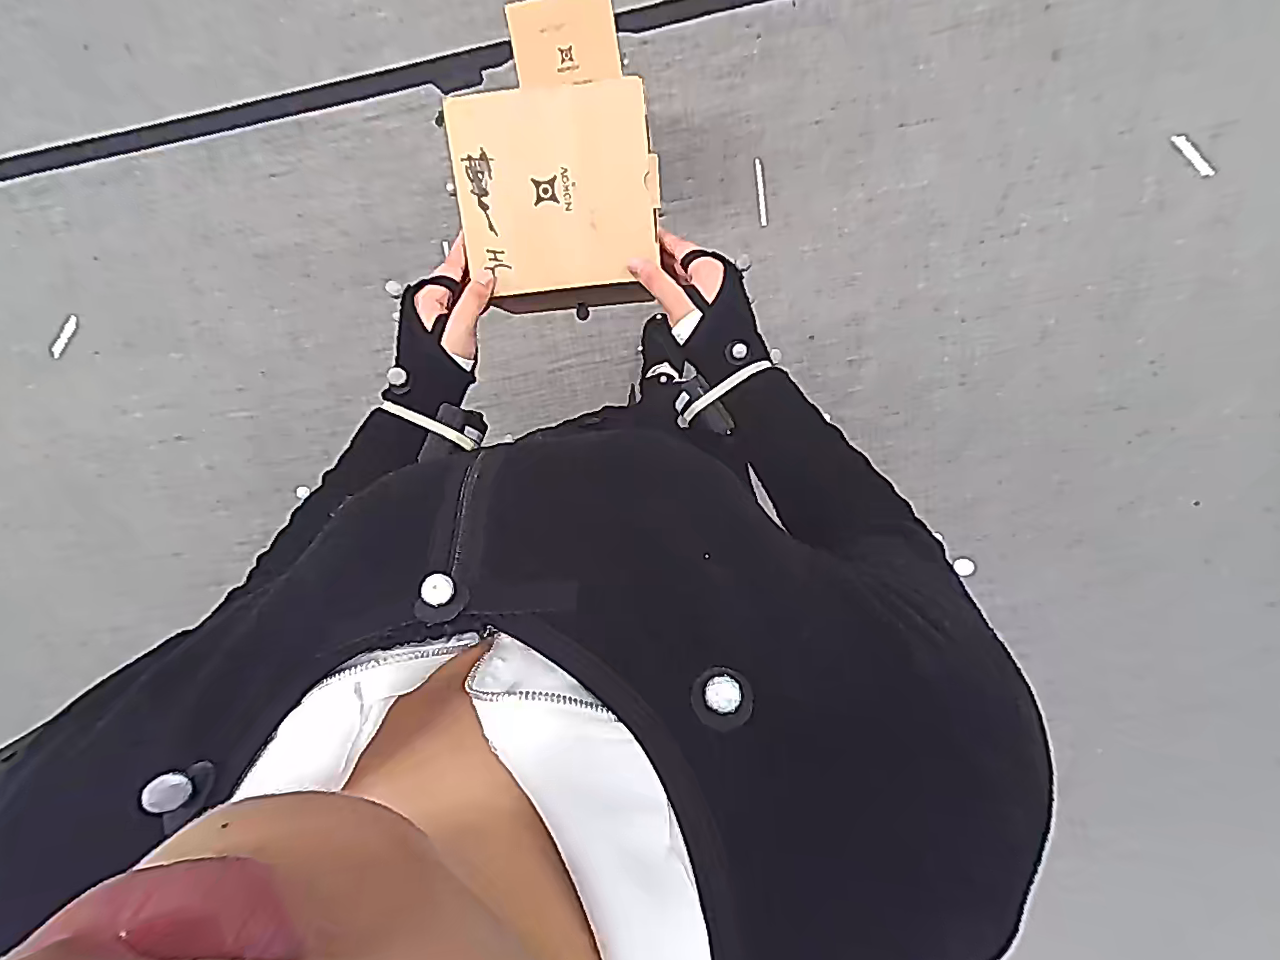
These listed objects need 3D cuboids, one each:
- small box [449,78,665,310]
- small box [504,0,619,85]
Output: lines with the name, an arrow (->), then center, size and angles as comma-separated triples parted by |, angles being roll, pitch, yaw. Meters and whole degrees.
small box -> -0.074, -0.272, 0.552 | 0.179, 0.176, 0.168 | -5, 101, -1
small box -> -0.117, -0.671, 0.928 | 0.168, 0.176, 0.179 | -9, 102, 2
